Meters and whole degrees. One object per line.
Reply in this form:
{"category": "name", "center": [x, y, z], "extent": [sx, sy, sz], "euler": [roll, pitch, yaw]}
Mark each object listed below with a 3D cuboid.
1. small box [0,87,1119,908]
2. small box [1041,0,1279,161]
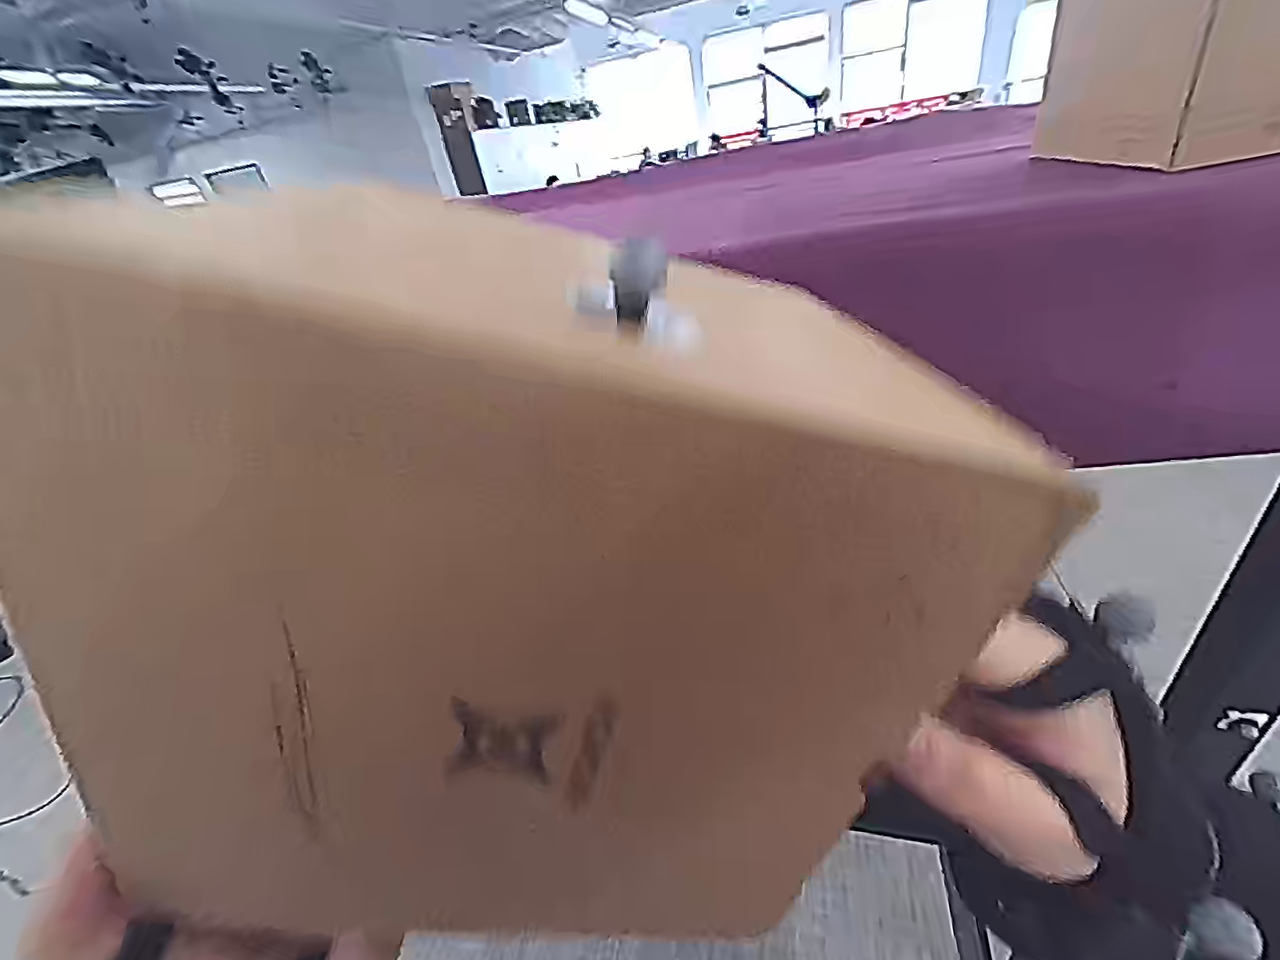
{"category": "small box", "center": [-0.028, 0.001, 0.179], "extent": [0.179, 0.168, 0.176], "euler": [12, 27, -10]}
{"category": "small box", "center": [0.389, -0.308, 0.335], "extent": [0.168, 0.176, 0.179], "euler": [-6, 32, 11]}
